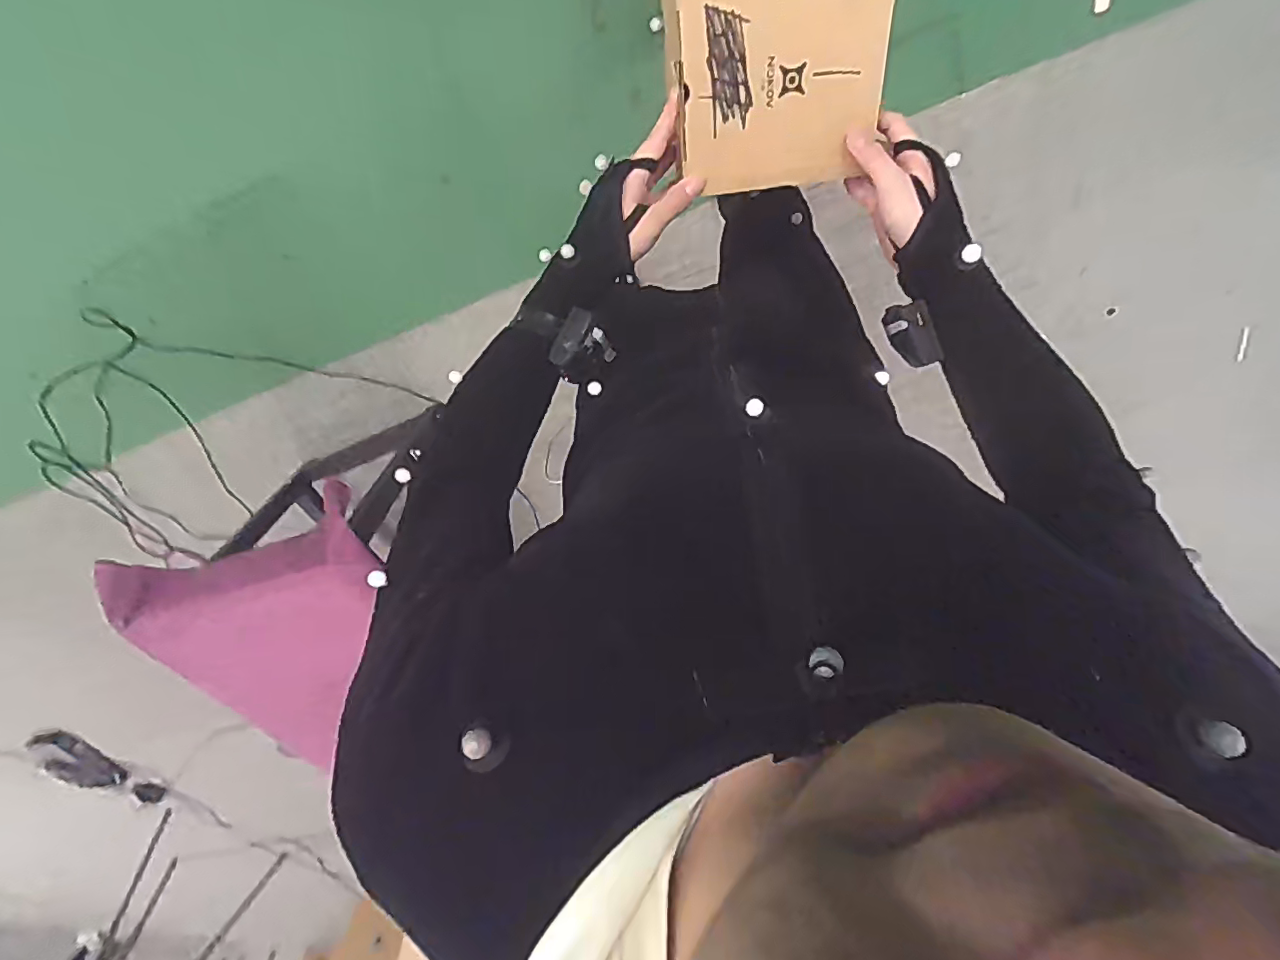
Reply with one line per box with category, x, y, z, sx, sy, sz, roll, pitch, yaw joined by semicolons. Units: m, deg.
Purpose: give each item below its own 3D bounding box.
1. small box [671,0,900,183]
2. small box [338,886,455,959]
small box;0.123;-0.397;0.517;0.179;0.176;0.168;-6;128;2
small box;-0.521;1.002;1.160;0.179;0.176;0.168;-19;121;15
